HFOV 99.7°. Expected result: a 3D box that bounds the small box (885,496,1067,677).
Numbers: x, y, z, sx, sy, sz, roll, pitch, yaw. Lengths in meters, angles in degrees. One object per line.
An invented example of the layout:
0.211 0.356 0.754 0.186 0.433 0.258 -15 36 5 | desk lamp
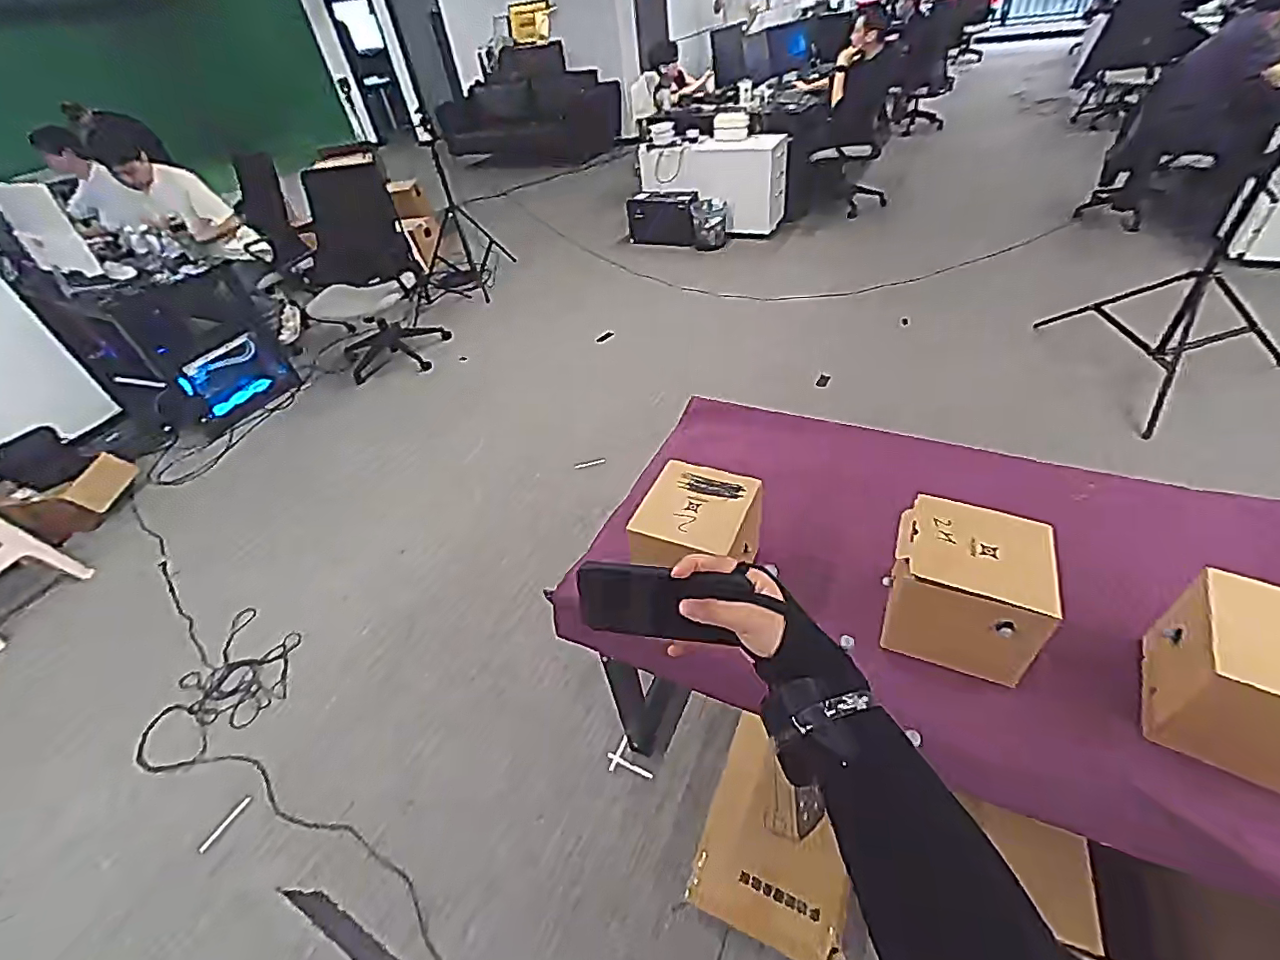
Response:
0.469 0.153 0.773 0.179 0.176 0.168 13 44 23 | small box

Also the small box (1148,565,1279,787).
0.743 0.237 0.636 0.179 0.176 0.168 19 49 27 | small box
